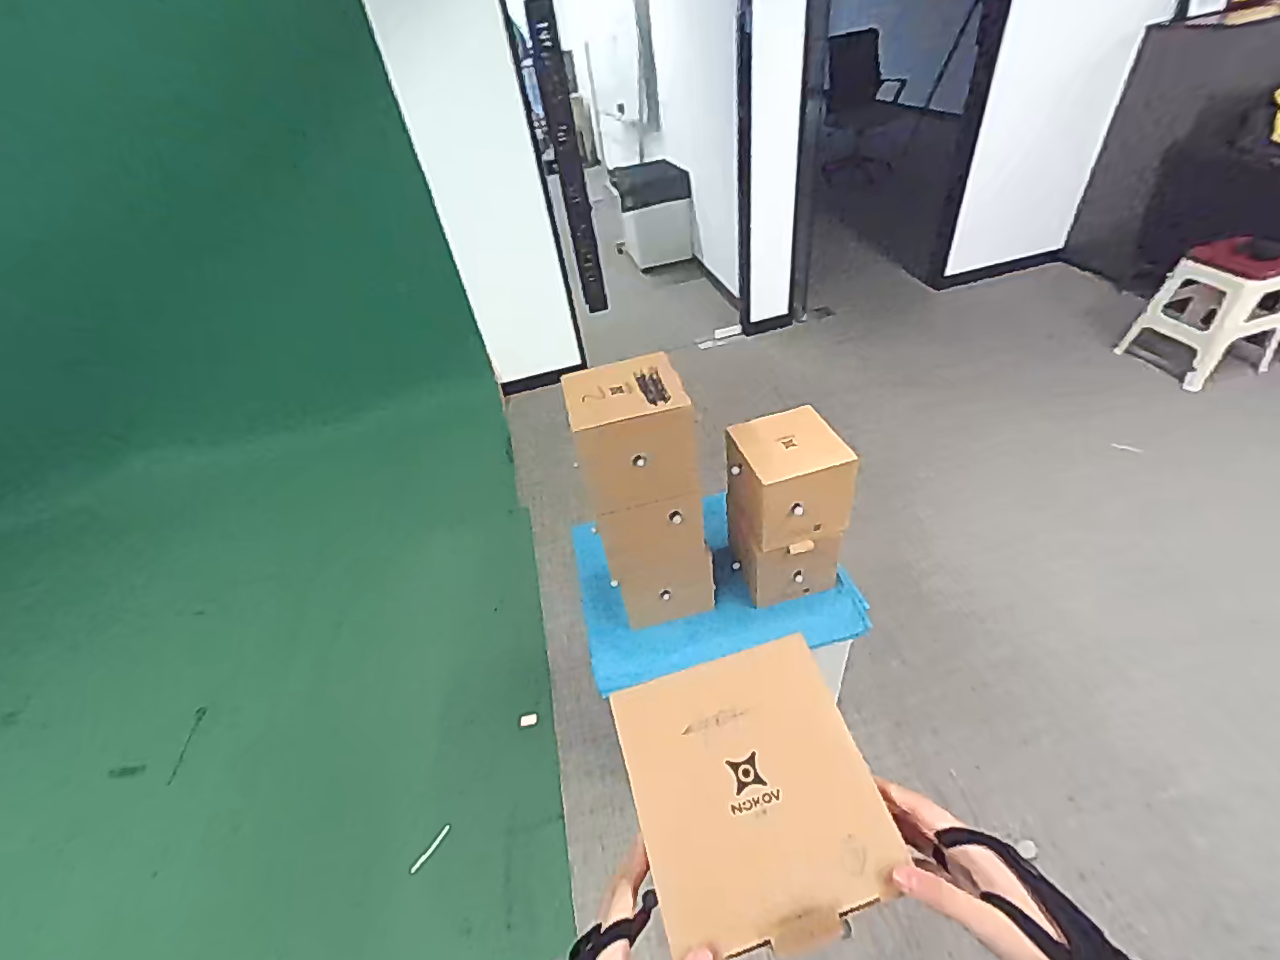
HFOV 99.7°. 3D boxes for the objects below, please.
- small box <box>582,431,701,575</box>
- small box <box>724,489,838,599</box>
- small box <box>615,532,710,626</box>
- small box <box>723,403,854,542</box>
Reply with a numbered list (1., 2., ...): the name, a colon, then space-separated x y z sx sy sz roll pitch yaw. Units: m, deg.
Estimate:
1. small box: 0.004 0.042 0.962 0.179 0.176 0.168 -14 41 -4
2. small box: 0.273 0.116 1.076 0.168 0.176 0.179 -13 42 -4
3. small box: 0.034 0.161 1.072 0.179 0.176 0.168 -14 41 -4
4. small box: 0.260 -0.008 0.971 0.168 0.176 0.179 -15 40 -5
